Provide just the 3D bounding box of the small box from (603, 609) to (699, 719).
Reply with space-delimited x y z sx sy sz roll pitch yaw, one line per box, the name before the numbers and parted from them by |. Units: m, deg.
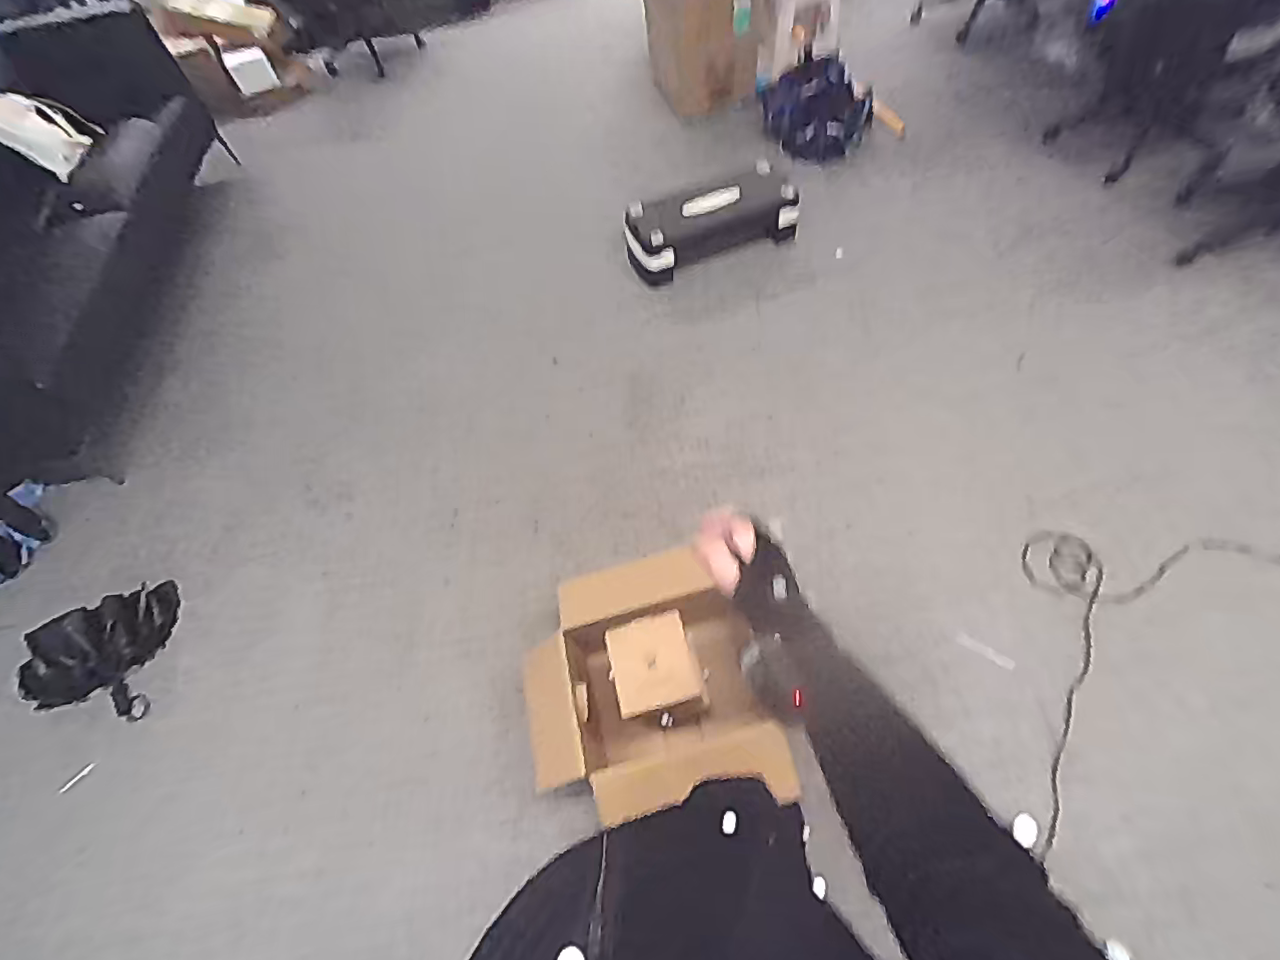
small box | 0.027 0.407 1.185 0.168 0.176 0.179 -16 61 0
